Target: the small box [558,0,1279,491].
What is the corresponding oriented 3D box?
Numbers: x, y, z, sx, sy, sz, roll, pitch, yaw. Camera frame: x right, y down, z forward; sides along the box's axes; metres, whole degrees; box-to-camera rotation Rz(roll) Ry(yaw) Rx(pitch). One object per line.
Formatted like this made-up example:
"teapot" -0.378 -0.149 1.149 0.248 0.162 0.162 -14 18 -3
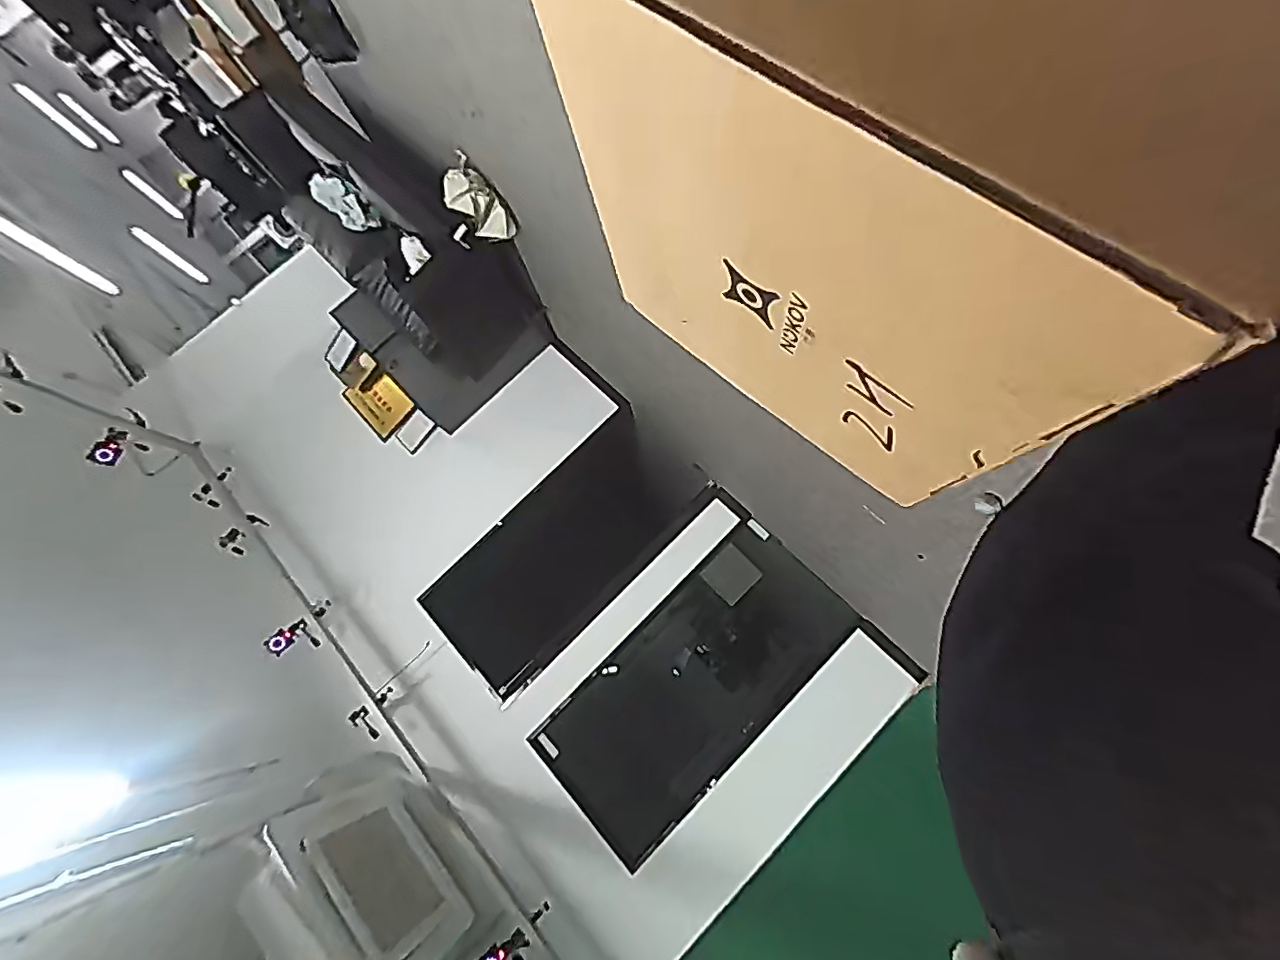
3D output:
"small box" 0.101 -0.125 0.193 0.179 0.176 0.168 39 176 12
